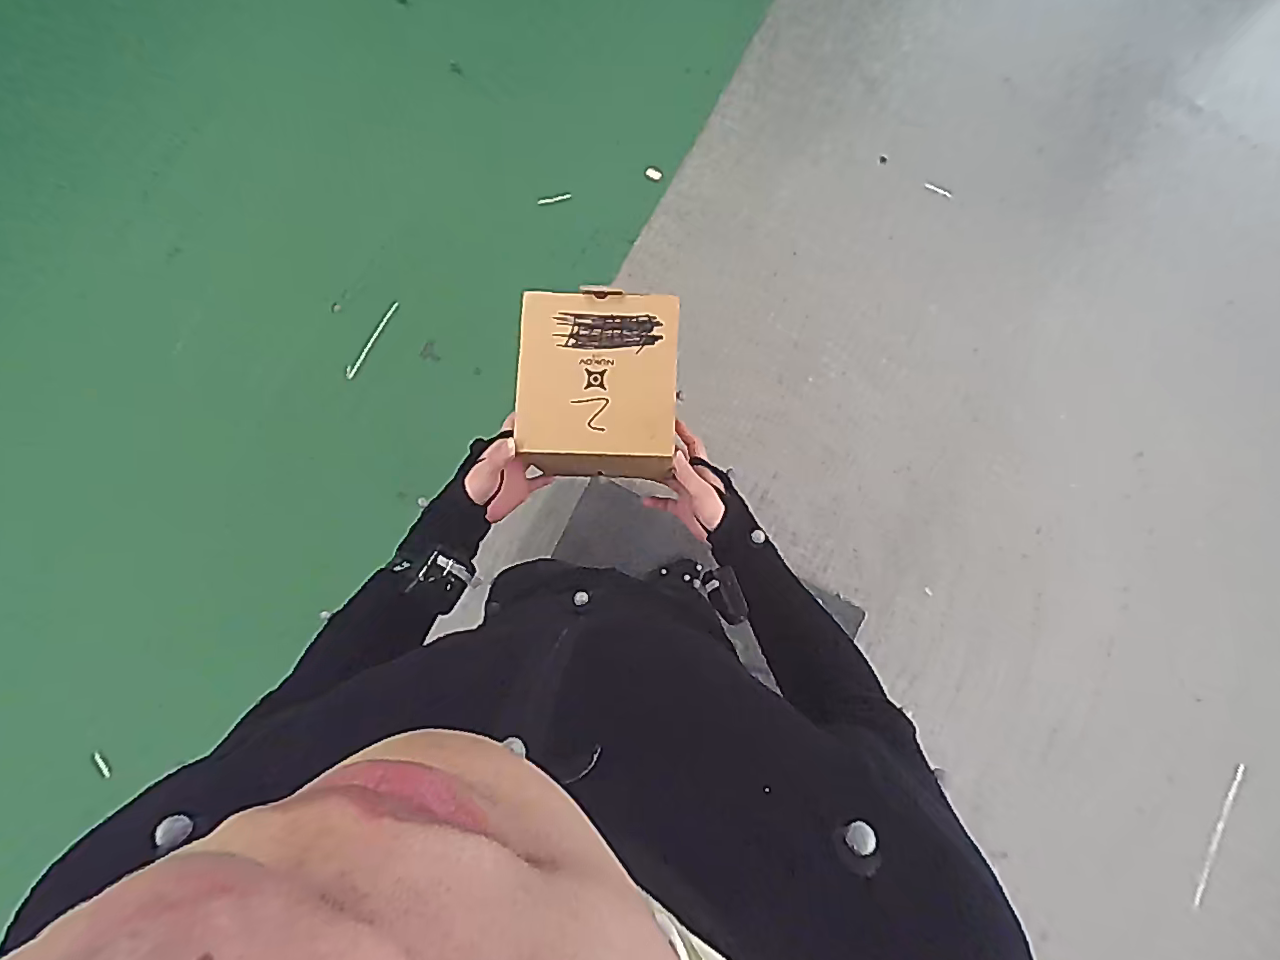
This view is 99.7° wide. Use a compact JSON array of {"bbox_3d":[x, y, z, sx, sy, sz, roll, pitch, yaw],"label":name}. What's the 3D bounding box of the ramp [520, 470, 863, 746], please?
[{"bbox_3d":[0.186,0.404,1.674,0.991,0.206,0.509,25,83,3],"label":"ramp"}]
